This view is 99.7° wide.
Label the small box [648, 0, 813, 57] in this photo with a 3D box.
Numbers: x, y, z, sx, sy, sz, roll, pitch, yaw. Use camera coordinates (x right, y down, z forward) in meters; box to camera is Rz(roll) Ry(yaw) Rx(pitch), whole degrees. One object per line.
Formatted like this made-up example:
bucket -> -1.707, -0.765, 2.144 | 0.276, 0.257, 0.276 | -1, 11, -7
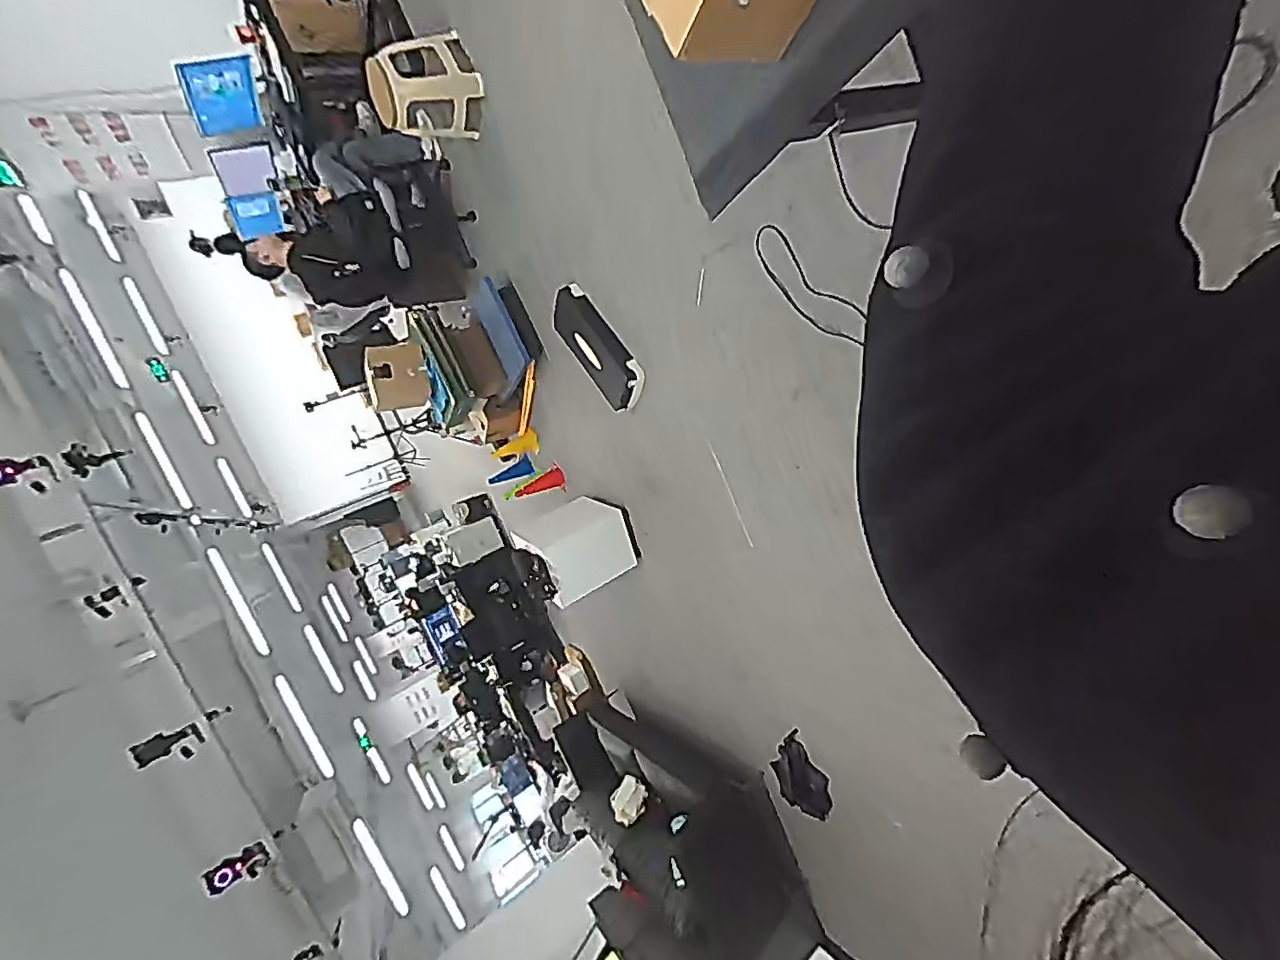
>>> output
small box -> 0.105, -0.590, 0.562 | 0.168, 0.176, 0.179 | 63, 153, 4
